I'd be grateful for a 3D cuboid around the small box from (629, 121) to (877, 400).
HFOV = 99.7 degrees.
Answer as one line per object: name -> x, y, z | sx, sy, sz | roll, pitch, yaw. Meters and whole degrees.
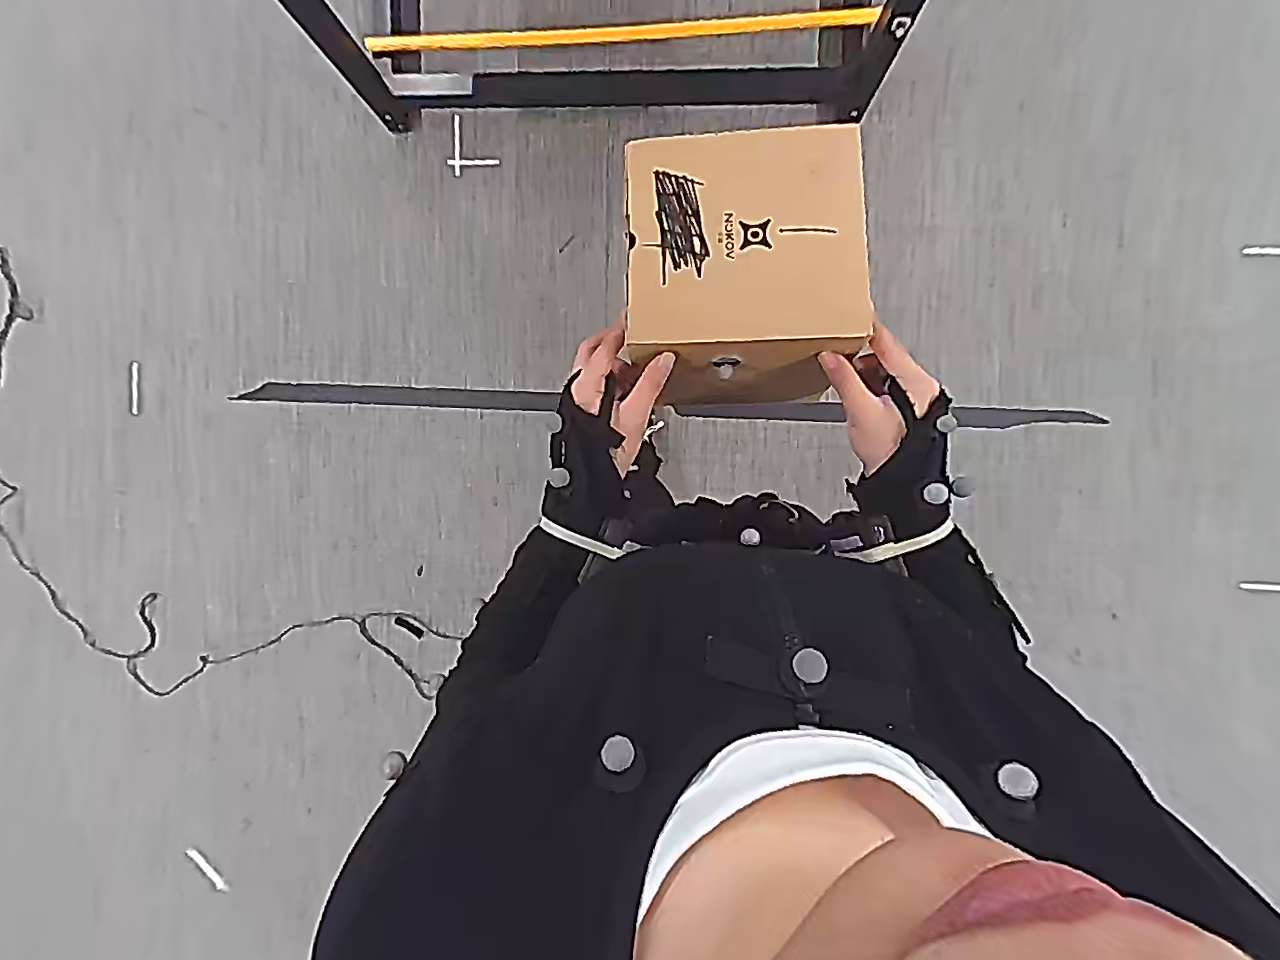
small box -> 0.087, -0.171, 0.474 | 0.179, 0.176, 0.168 | -1, 82, 5
